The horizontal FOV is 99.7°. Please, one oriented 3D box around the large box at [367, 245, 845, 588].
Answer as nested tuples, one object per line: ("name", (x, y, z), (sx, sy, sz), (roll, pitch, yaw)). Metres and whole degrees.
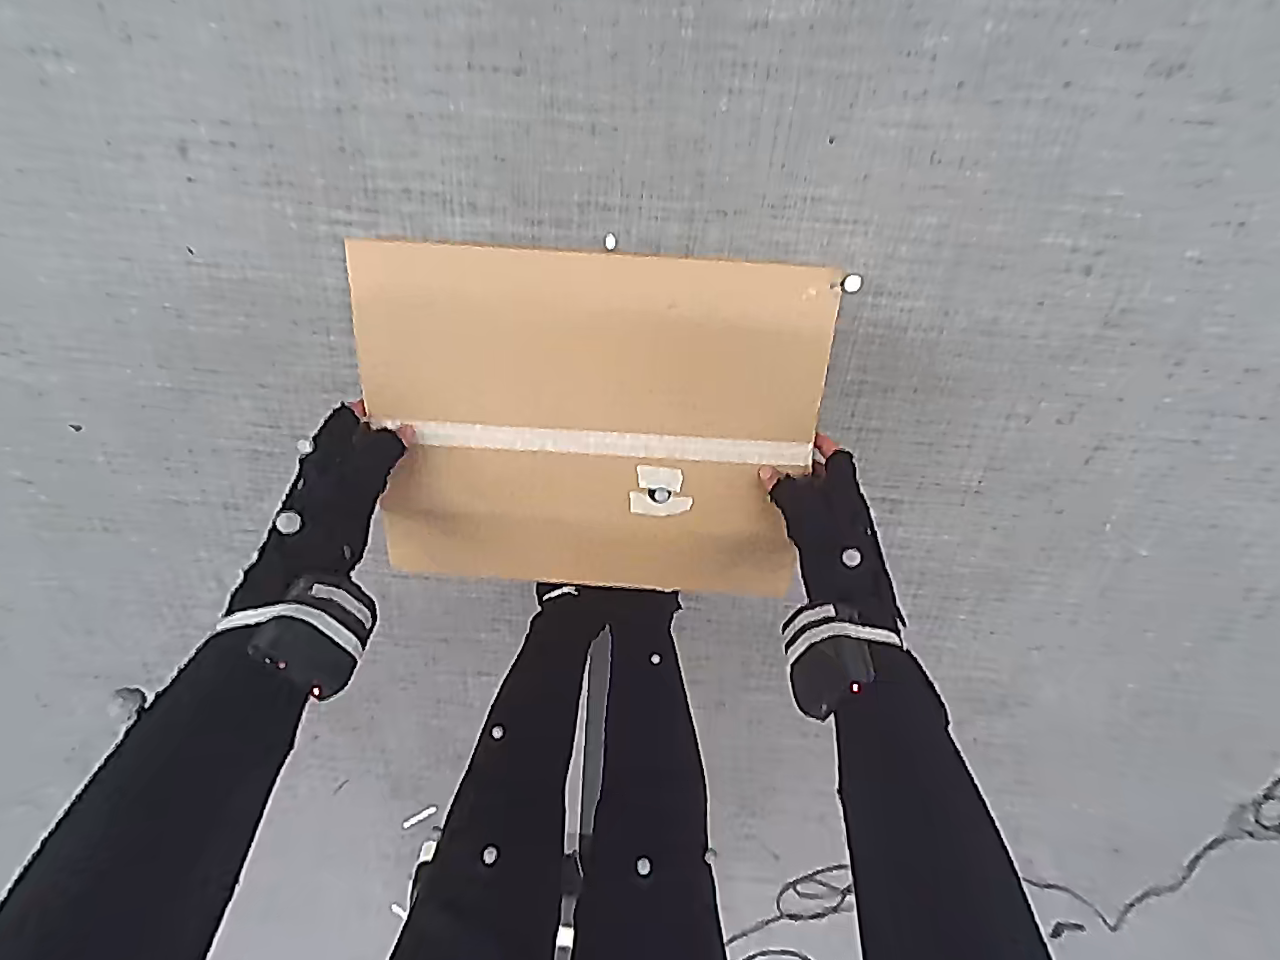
("large box", (-0.033, -0.093, 0.635), (0.408, 0.320, 0.320), (3, 112, 0))
